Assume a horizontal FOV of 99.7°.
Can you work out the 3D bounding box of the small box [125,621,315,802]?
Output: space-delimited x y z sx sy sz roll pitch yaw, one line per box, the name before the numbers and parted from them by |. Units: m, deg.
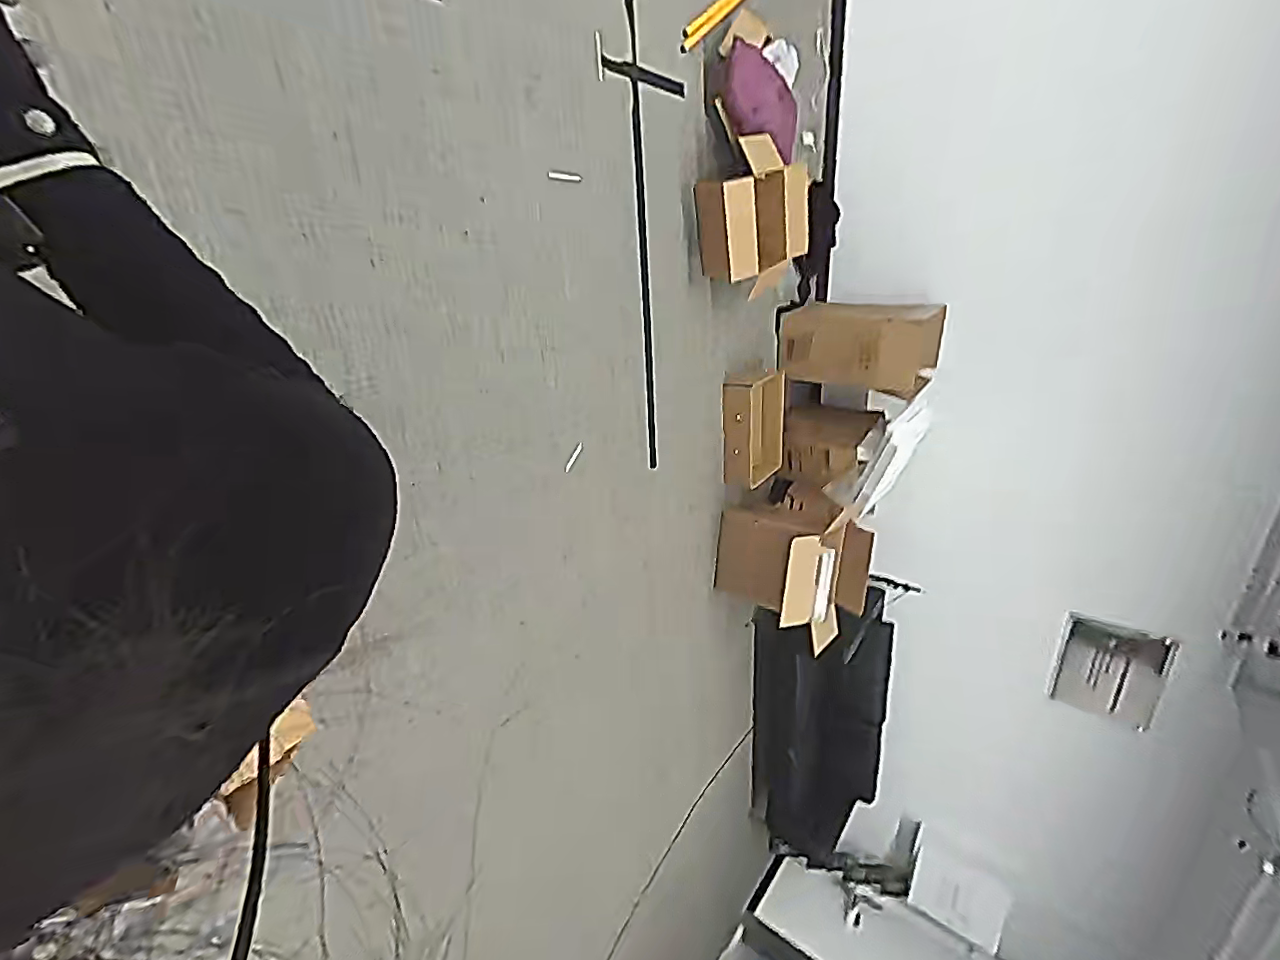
small box | -0.665 0.354 0.861 0.168 0.176 0.179 -35 122 -44
